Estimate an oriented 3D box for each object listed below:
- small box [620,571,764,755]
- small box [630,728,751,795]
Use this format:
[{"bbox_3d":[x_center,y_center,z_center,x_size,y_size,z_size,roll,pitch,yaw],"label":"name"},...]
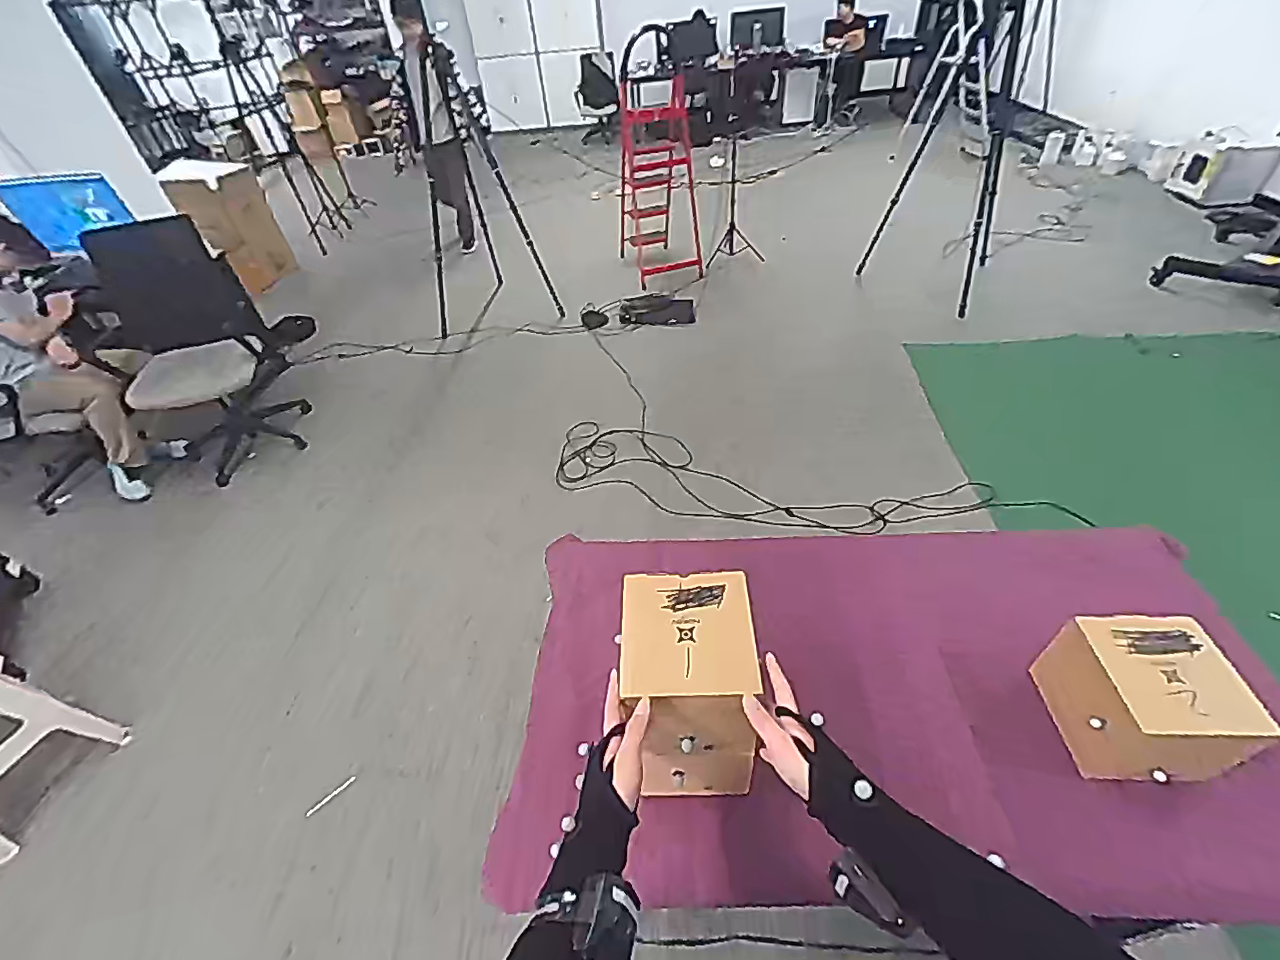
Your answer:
[{"bbox_3d":[0.066,0.243,0.722,0.168,0.176,0.179,-3,42,4],"label":"small box"},{"bbox_3d":[0.076,0.366,0.830,0.168,0.176,0.179,-3,41,3],"label":"small box"}]
